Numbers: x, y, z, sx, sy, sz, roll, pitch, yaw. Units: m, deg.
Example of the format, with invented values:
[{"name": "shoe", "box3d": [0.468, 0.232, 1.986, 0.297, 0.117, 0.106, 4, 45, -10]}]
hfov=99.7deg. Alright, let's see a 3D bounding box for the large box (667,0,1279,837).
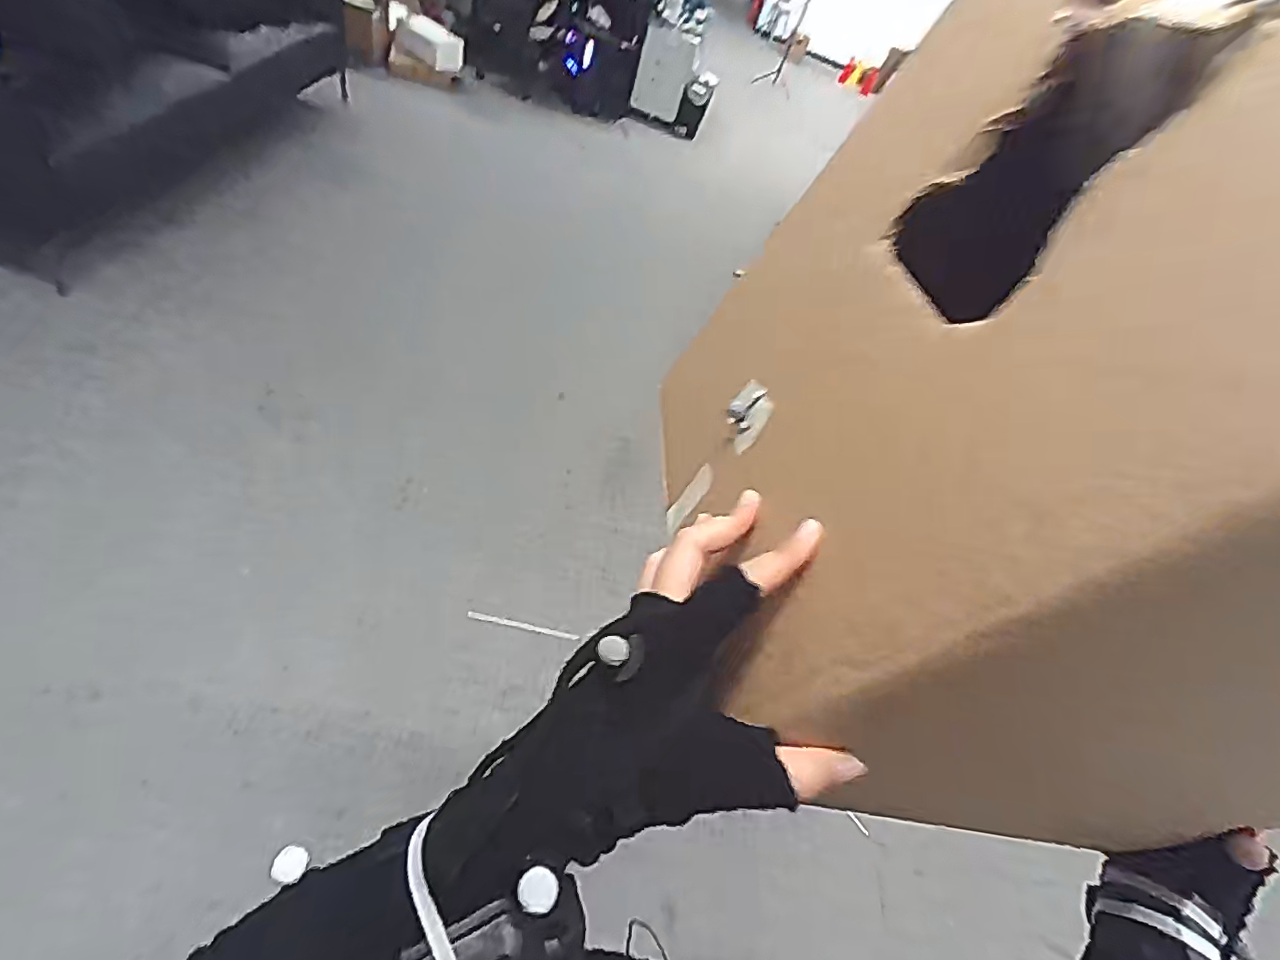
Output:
[{"name": "large box", "box3d": [0.272, 0.011, 0.349, 0.408, 0.320, 0.320, 22, 42, -24]}]
